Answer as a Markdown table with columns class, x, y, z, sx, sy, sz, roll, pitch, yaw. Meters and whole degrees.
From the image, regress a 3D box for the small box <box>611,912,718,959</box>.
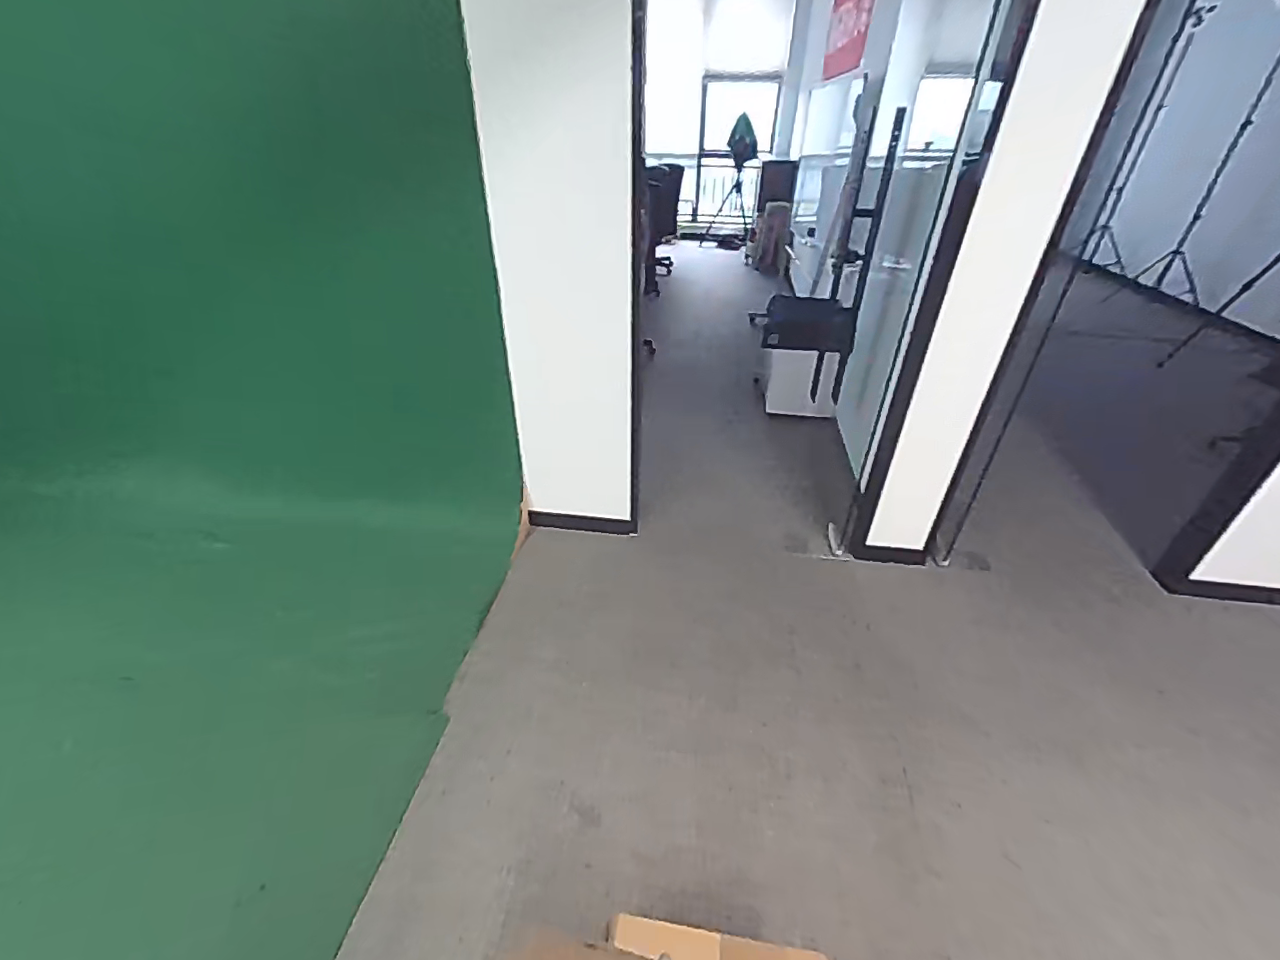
| class | x | y | z | sx | sy | sz | roll | pitch | yaw |
| --- | --- | --- | --- | --- | --- | --- | --- | --- | --- |
| small box | 0.027 | 0.823 | 0.835 | 0.168 | 0.176 | 0.179 | 5 | 31 | 8 |
